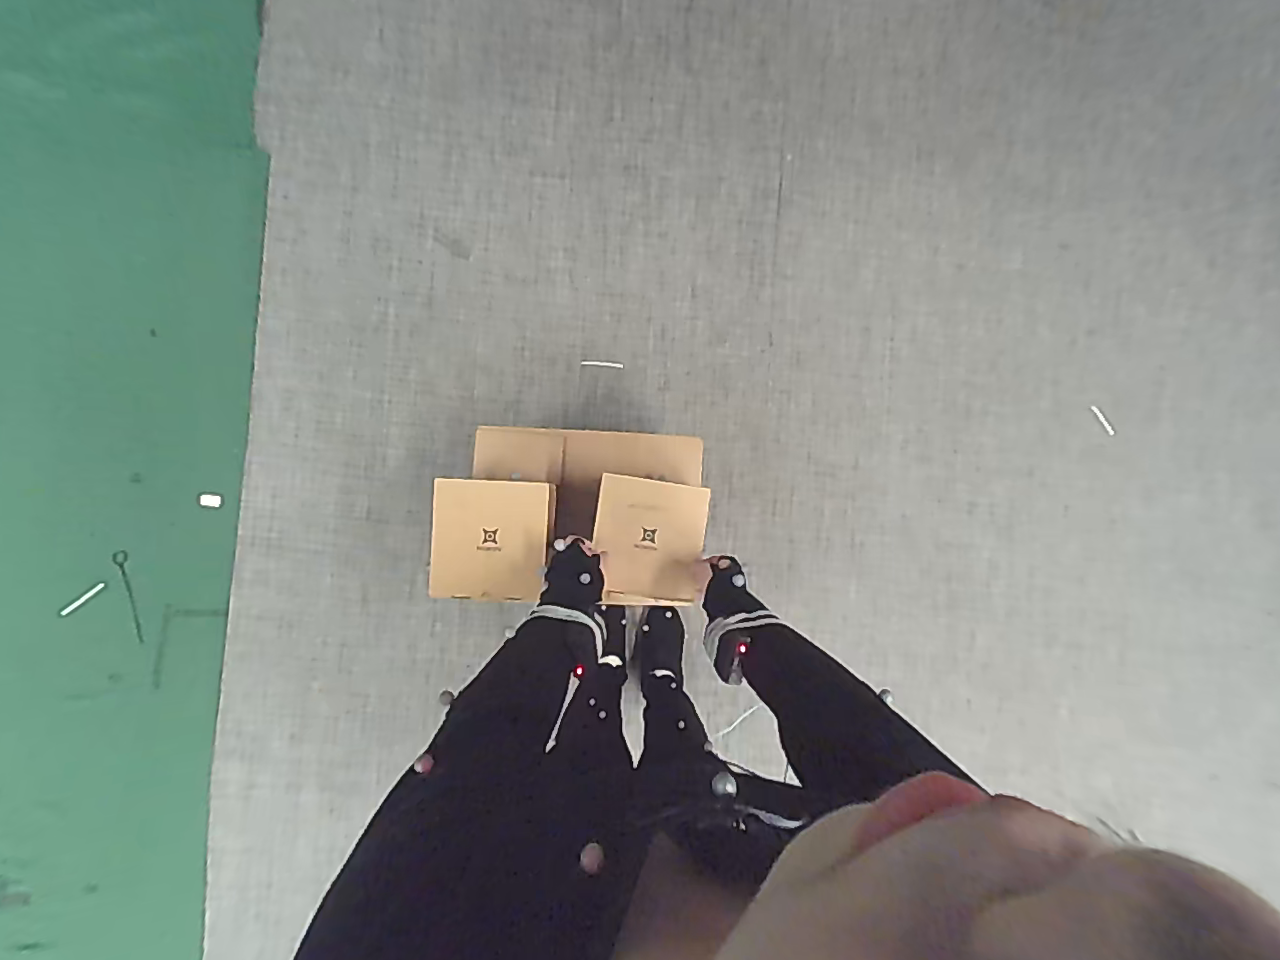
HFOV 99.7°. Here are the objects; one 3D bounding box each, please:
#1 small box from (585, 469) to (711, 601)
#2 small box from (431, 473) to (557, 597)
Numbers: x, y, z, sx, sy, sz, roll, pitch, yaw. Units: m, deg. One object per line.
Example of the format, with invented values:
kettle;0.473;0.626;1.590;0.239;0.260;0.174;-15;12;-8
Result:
small box;0.010;0.084;0.875;0.168;0.176;0.179;9;87;-2
small box;-0.223;0.081;0.863;0.168;0.176;0.179;3;91;-5
